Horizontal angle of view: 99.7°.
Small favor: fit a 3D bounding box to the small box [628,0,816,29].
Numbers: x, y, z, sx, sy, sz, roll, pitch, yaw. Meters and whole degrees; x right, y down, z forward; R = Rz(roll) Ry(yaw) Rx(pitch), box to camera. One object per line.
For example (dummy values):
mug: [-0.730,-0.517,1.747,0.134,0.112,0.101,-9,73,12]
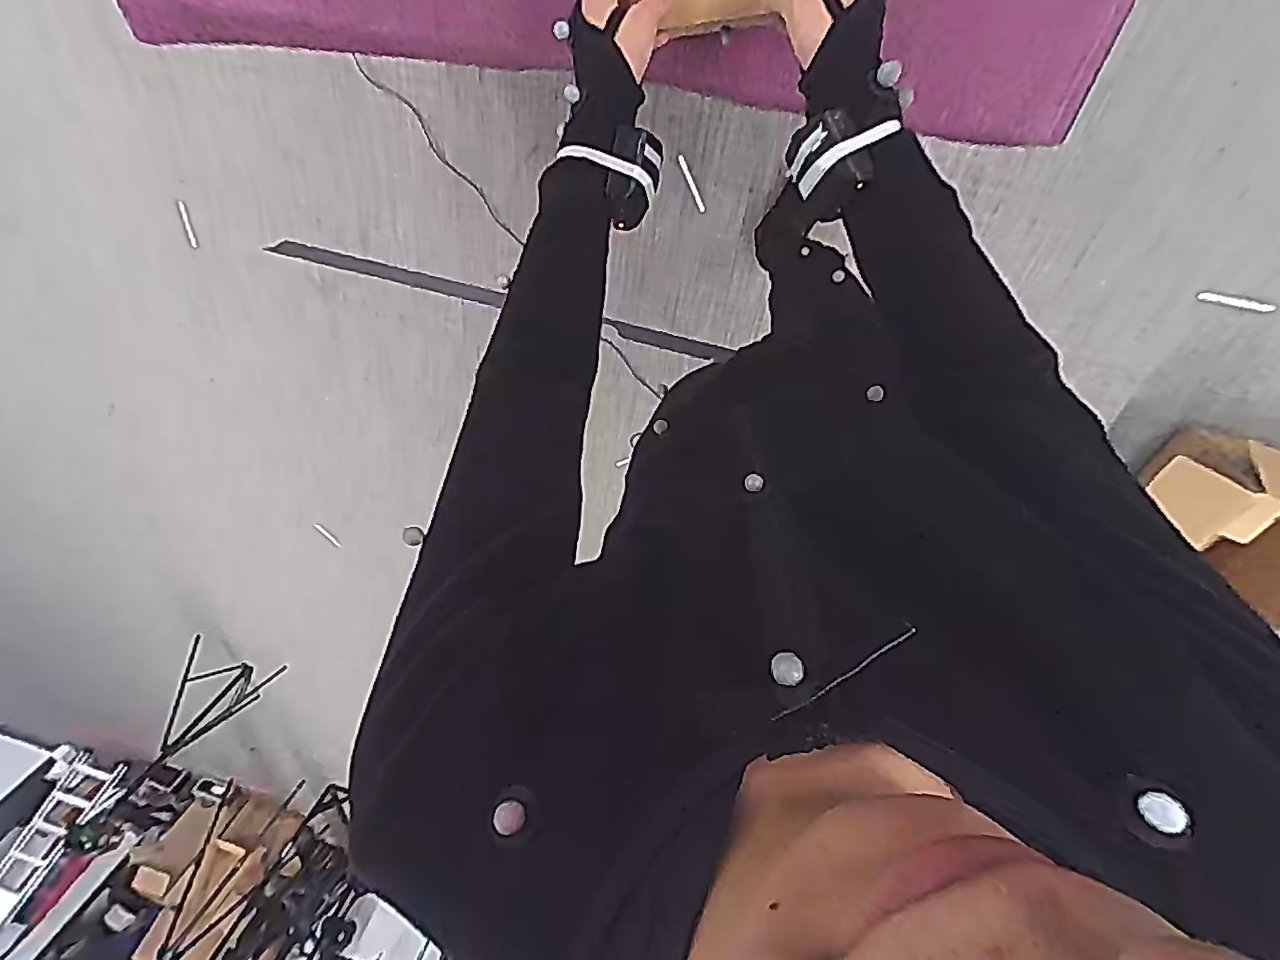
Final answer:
small box: [0.079,-0.516,0.474,0.168,0.176,0.179,3,127,12]
